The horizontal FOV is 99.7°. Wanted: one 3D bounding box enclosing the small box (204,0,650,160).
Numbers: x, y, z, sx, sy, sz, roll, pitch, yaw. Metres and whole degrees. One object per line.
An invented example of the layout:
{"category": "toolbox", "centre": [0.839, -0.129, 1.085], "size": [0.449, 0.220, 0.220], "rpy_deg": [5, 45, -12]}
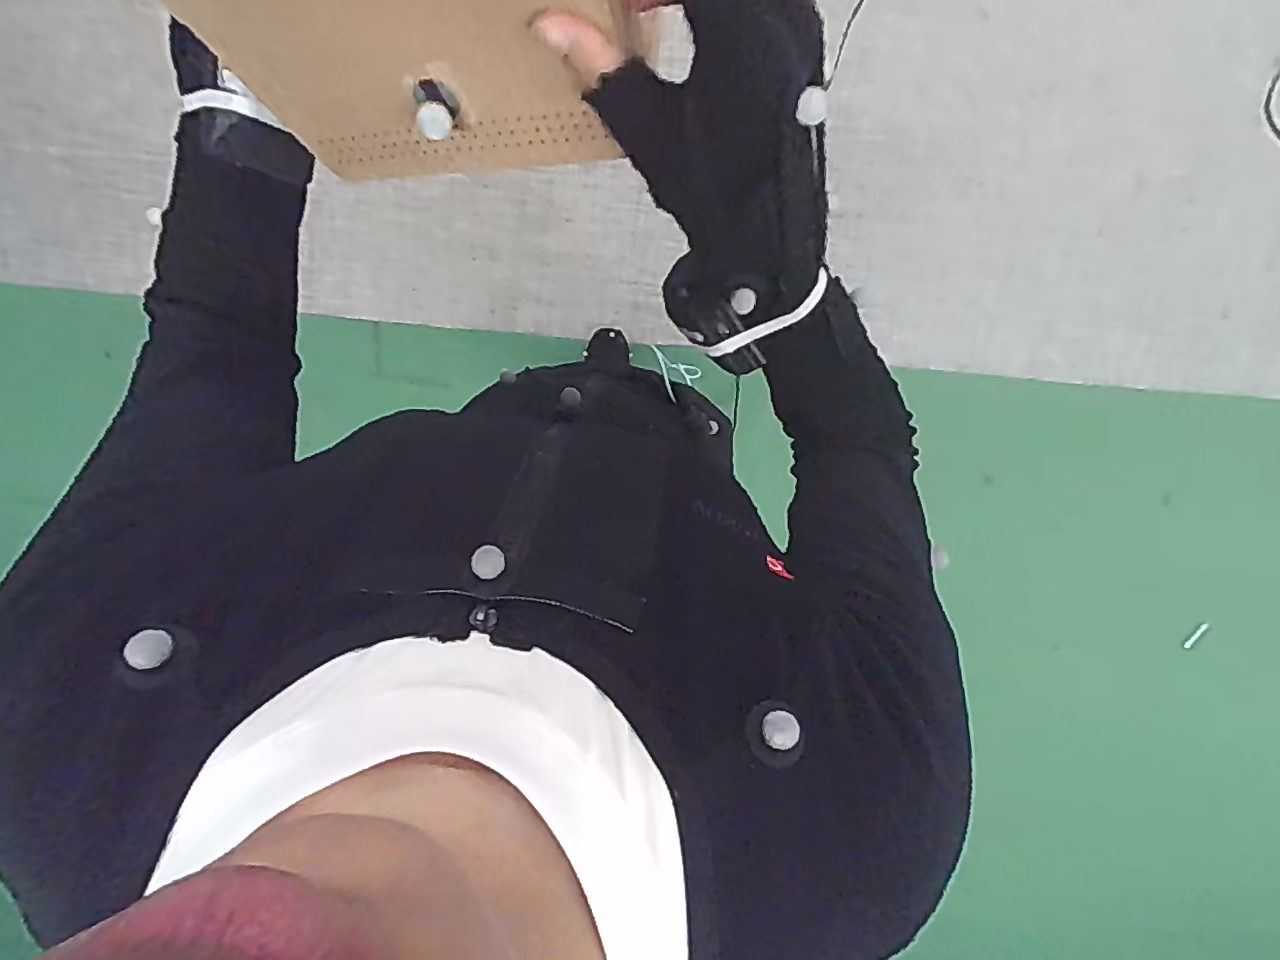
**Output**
{"category": "small box", "centre": [-0.088, -0.268, 0.224], "size": [0.179, 0.176, 0.168], "rpy_deg": [3, 77, 13]}
